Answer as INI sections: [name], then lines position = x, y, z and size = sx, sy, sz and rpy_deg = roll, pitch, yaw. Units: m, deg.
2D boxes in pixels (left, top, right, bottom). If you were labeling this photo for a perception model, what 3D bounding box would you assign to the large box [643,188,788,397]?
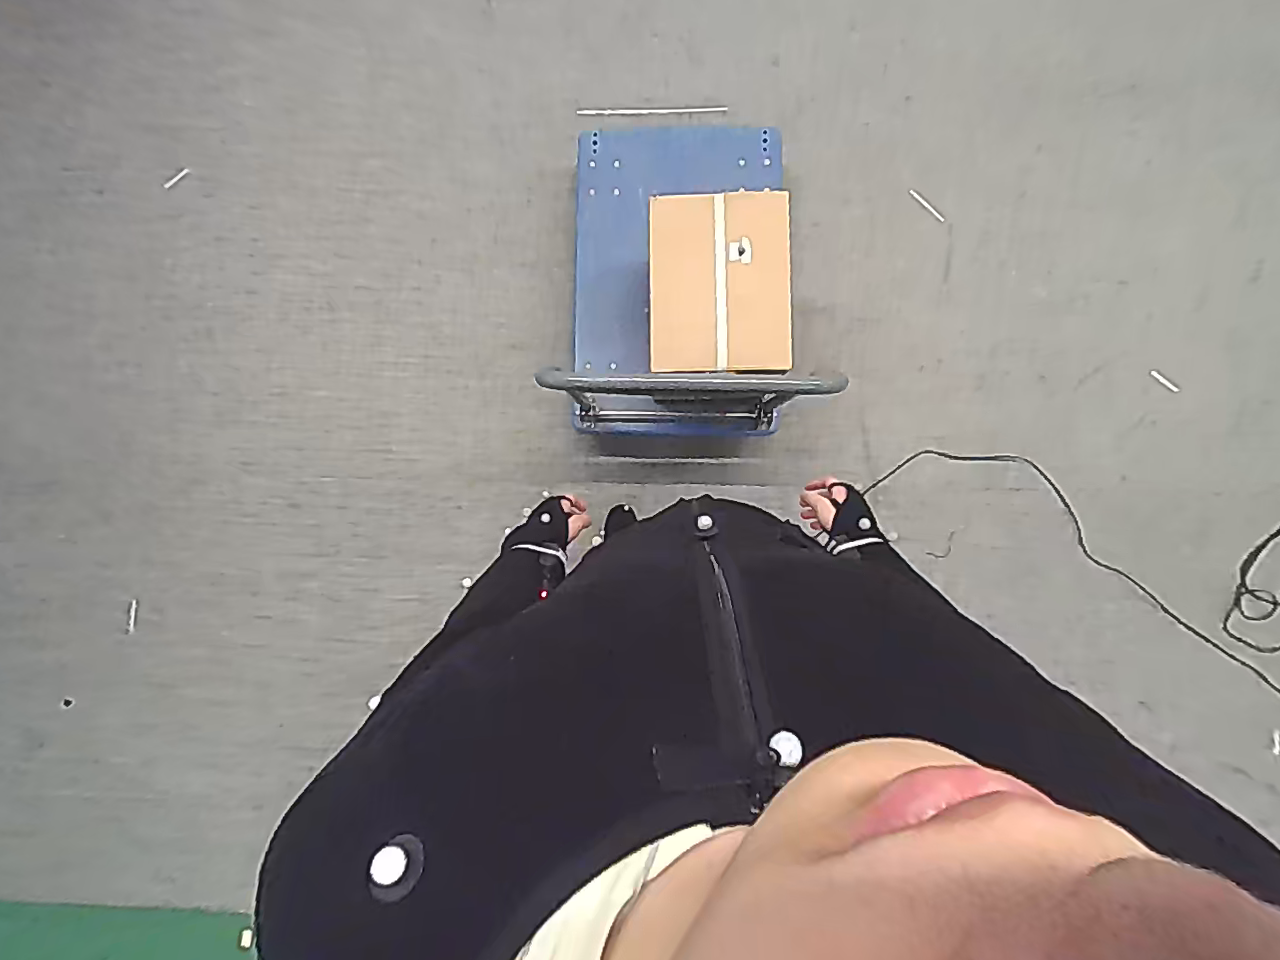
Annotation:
[large box]
position = 0.172, -0.437, 1.340
size = 0.320, 0.320, 0.408
rpy_deg = -1, 87, 1
